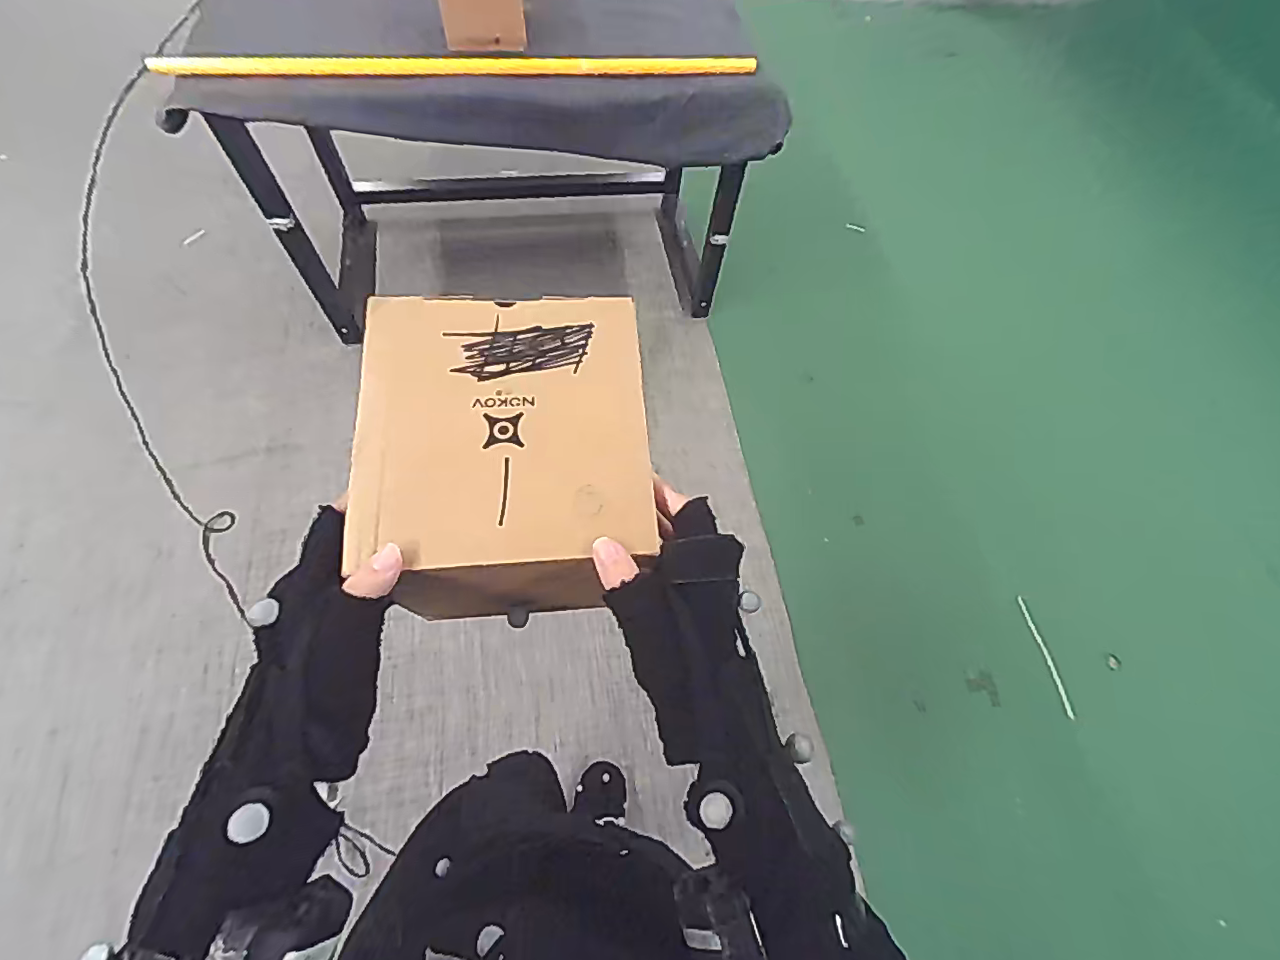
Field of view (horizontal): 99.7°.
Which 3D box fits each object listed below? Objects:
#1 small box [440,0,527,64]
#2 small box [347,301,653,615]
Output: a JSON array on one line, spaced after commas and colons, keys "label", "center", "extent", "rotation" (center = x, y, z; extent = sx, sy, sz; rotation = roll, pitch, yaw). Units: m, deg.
[{"label": "small box", "center": [-0.335, -1.023, 1.148], "extent": [0.168, 0.176, 0.179], "rotation": [-7, 63, -7]}, {"label": "small box", "center": [-0.088, -0.007, 0.397], "extent": [0.168, 0.176, 0.179], "rotation": [-3, 68, -7]}]
